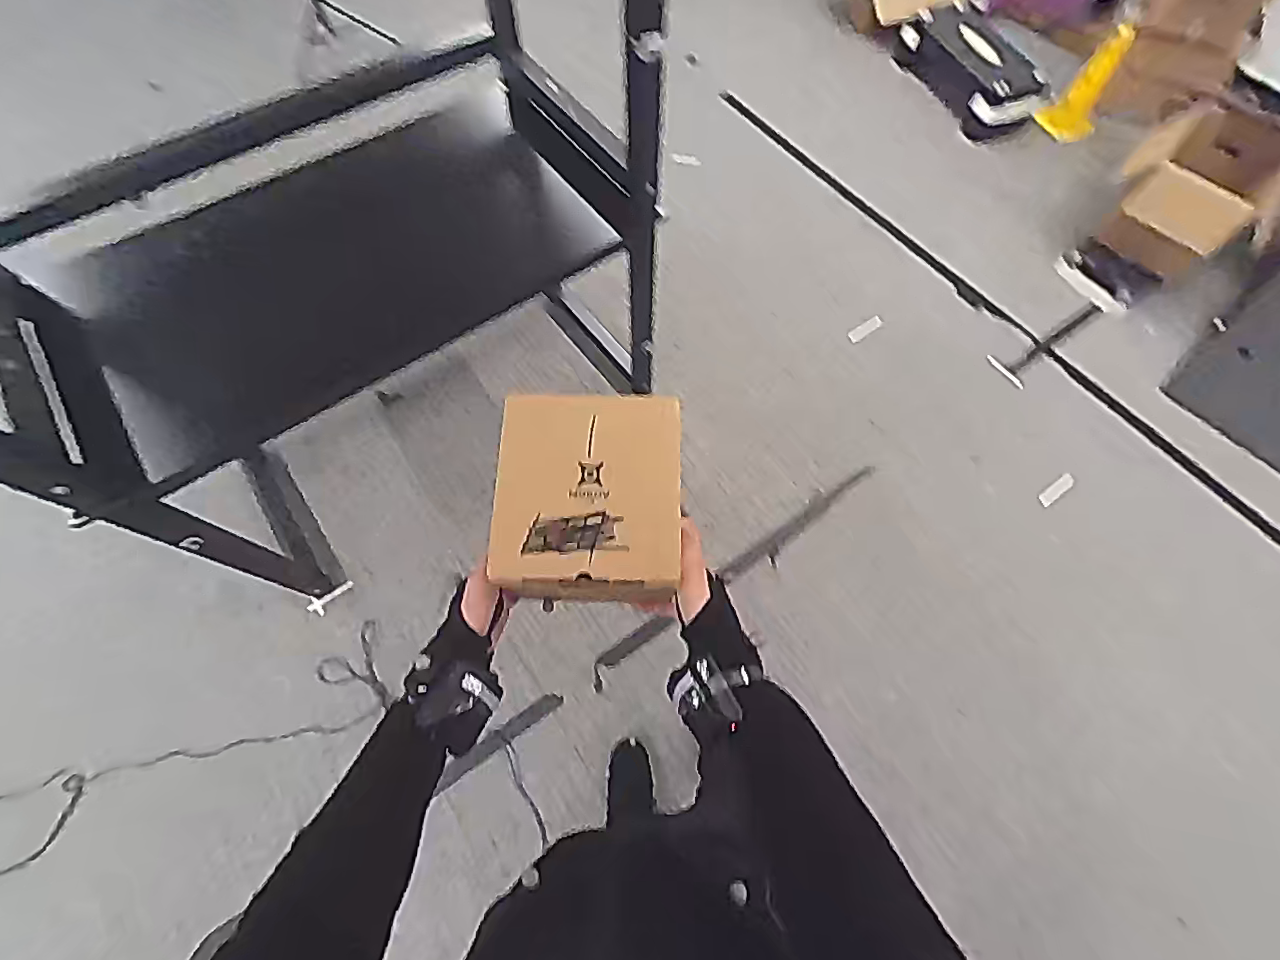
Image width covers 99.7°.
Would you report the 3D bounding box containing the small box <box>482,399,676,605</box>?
[{"bbox_3d":[-0.050,0.033,0.553,0.168,0.176,0.179,1,71,0],"label":"small box"}]
